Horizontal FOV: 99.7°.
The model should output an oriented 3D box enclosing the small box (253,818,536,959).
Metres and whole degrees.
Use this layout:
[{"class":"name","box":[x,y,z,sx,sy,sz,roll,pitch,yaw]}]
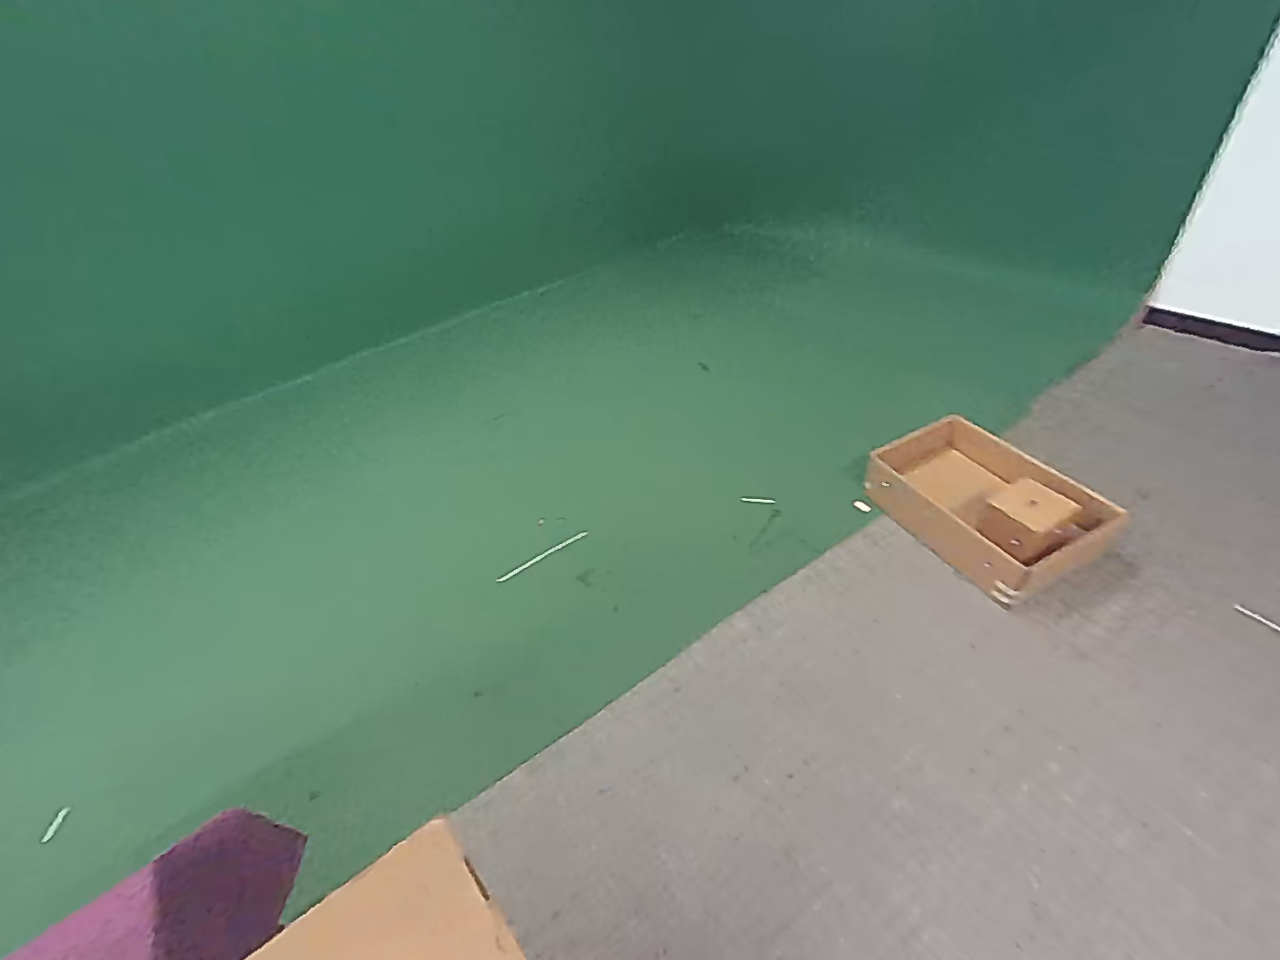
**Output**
[{"class":"small box","box":[-0.157,0.353,0.328,0.179,0.176,0.168,-23,60,-37]}]
